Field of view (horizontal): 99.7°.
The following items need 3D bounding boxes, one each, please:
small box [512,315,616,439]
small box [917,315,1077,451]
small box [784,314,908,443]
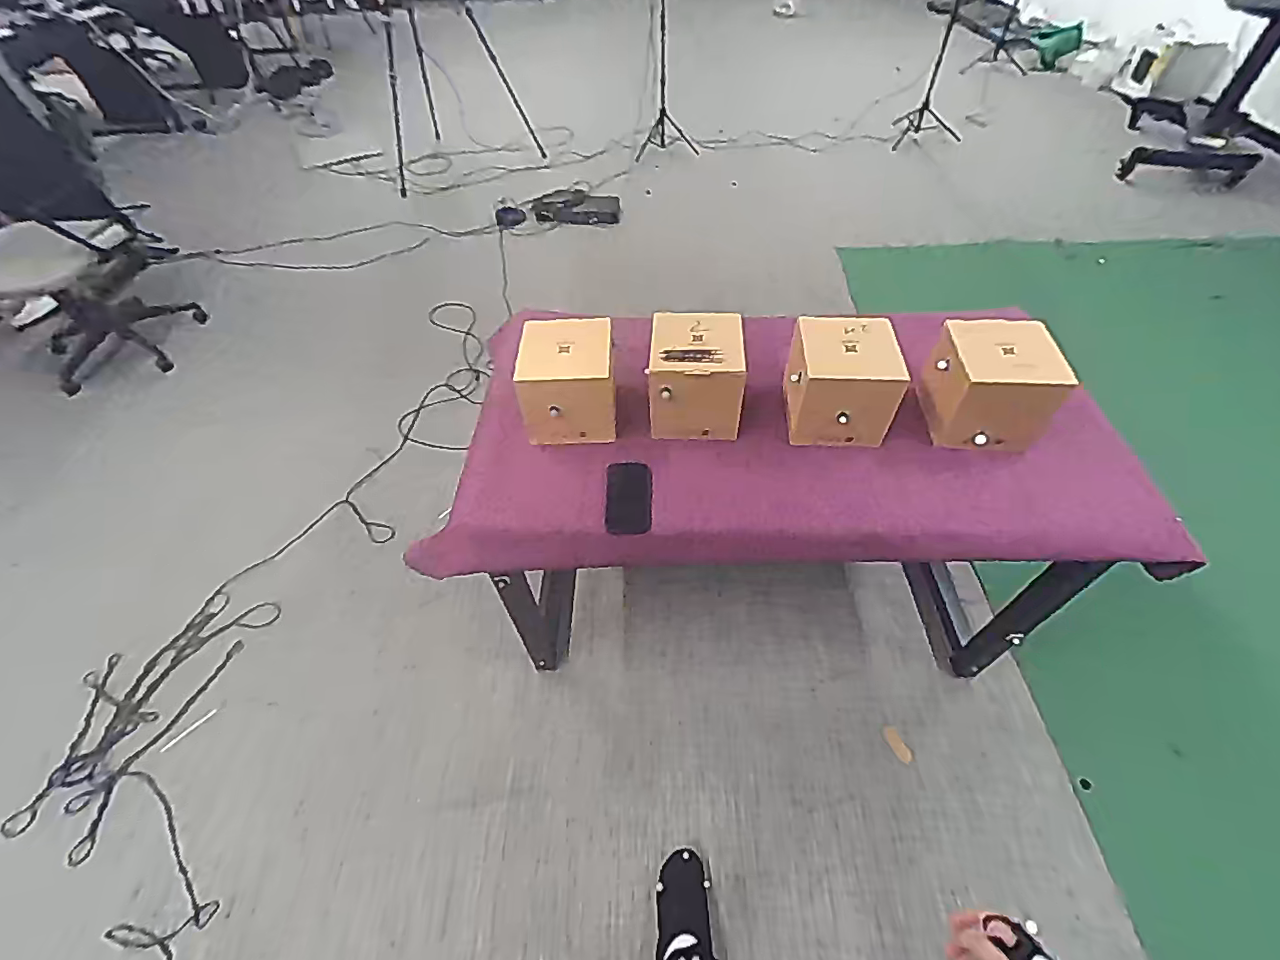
[{"bbox_3d":[-0.133,-0.189,1.026,0.168,0.176,0.179,-2,50,1],"label":"small box"},{"bbox_3d":[0.627,-0.176,0.981,0.168,0.176,0.179,3,51,6],"label":"small box"},{"bbox_3d":[0.367,-0.185,0.999,0.168,0.176,0.179,3,51,4],"label":"small box"}]
